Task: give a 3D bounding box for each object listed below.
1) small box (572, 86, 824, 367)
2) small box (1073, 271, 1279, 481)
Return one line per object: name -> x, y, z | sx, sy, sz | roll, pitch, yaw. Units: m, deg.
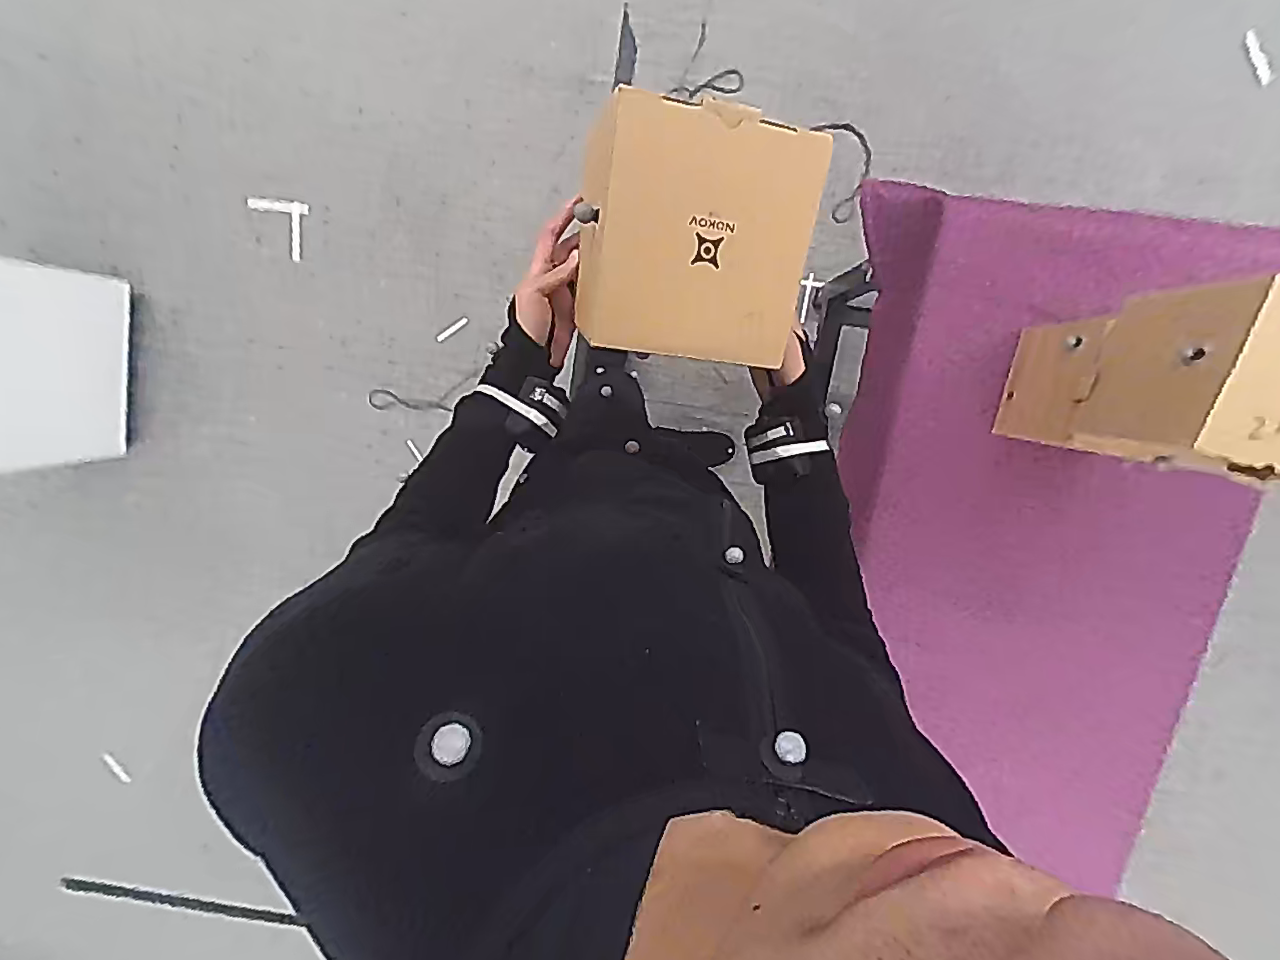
small box -> 0.032, -0.211, 0.486 | 0.168, 0.176, 0.179 | 3, 110, -14
small box -> 0.649, -0.110, 0.609 | 0.168, 0.176, 0.179 | 16, 101, -1
